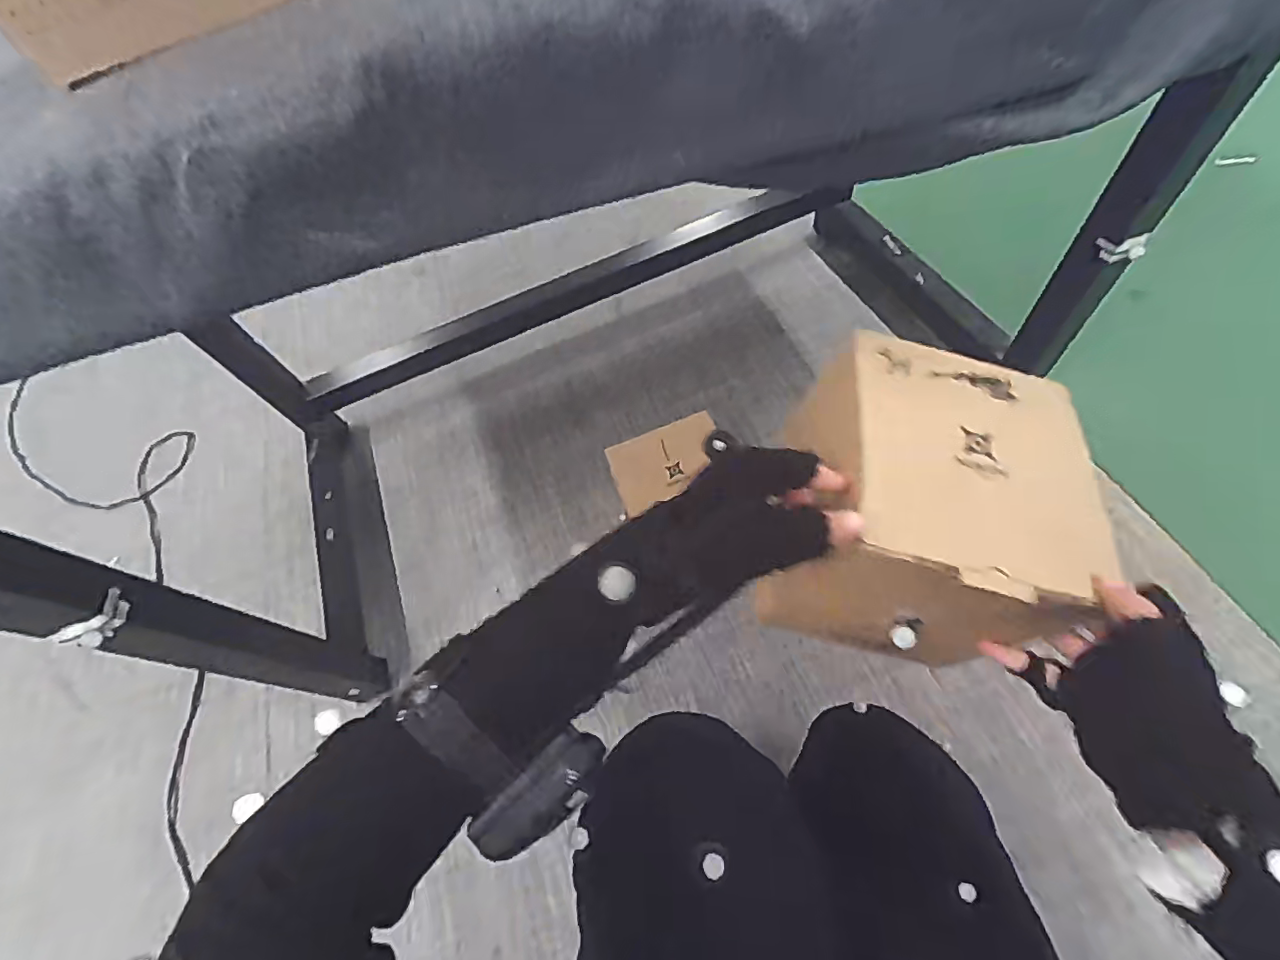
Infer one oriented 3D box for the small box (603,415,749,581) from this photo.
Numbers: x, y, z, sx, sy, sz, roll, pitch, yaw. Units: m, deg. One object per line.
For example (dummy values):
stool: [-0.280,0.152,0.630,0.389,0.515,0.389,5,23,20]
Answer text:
small box: [0.061,0.037,0.828,0.168,0.176,0.179,-21,58,-1]
